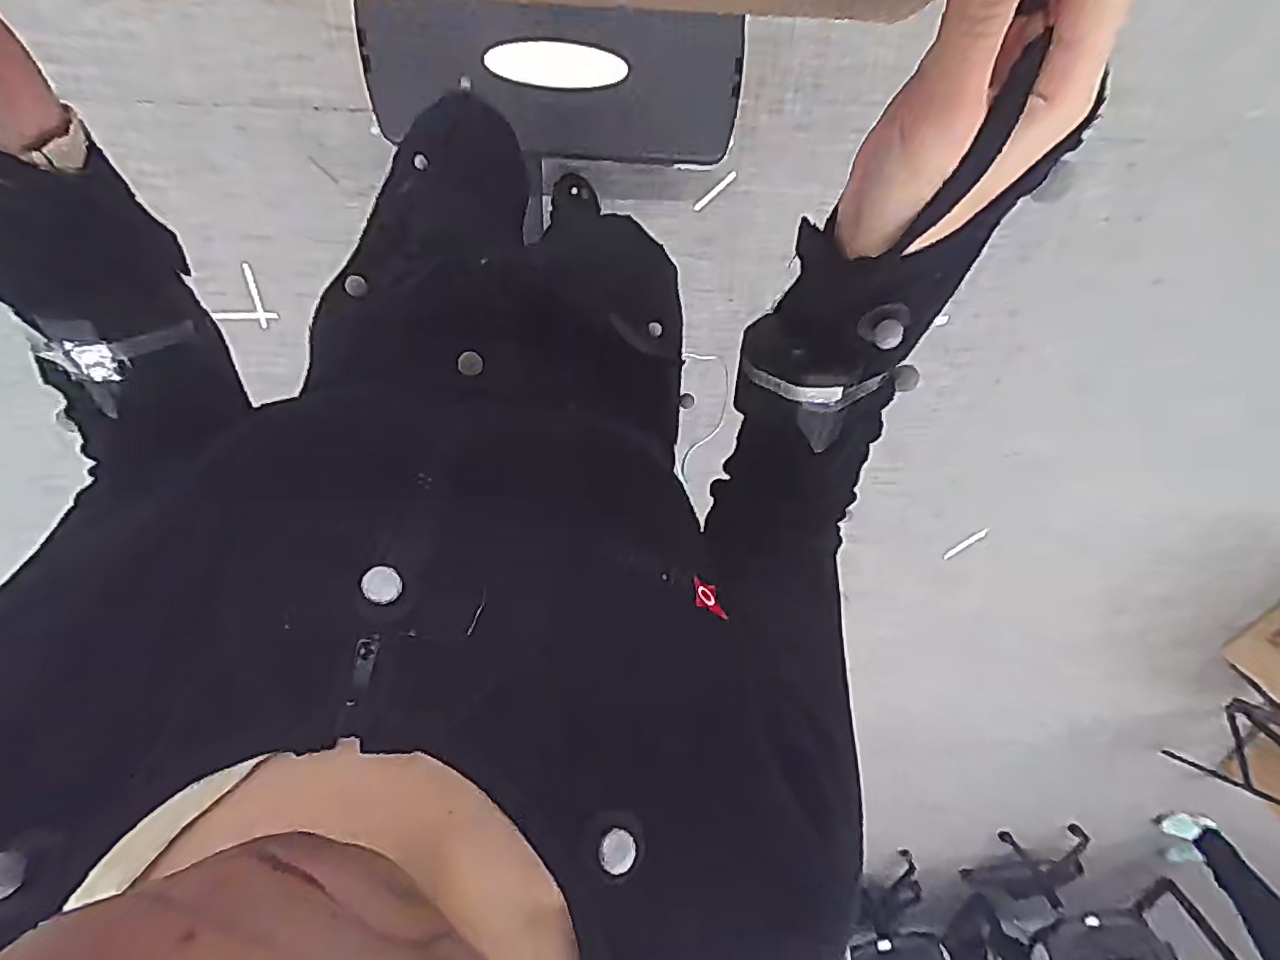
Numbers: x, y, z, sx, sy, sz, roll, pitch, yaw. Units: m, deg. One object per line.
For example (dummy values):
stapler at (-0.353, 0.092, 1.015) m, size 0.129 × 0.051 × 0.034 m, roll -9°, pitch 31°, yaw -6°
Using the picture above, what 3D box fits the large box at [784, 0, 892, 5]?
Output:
large box at (-0.070, -0.306, 0.070) m, size 0.408 × 0.320 × 0.320 m, roll 2°, pitch 121°, yaw 0°
